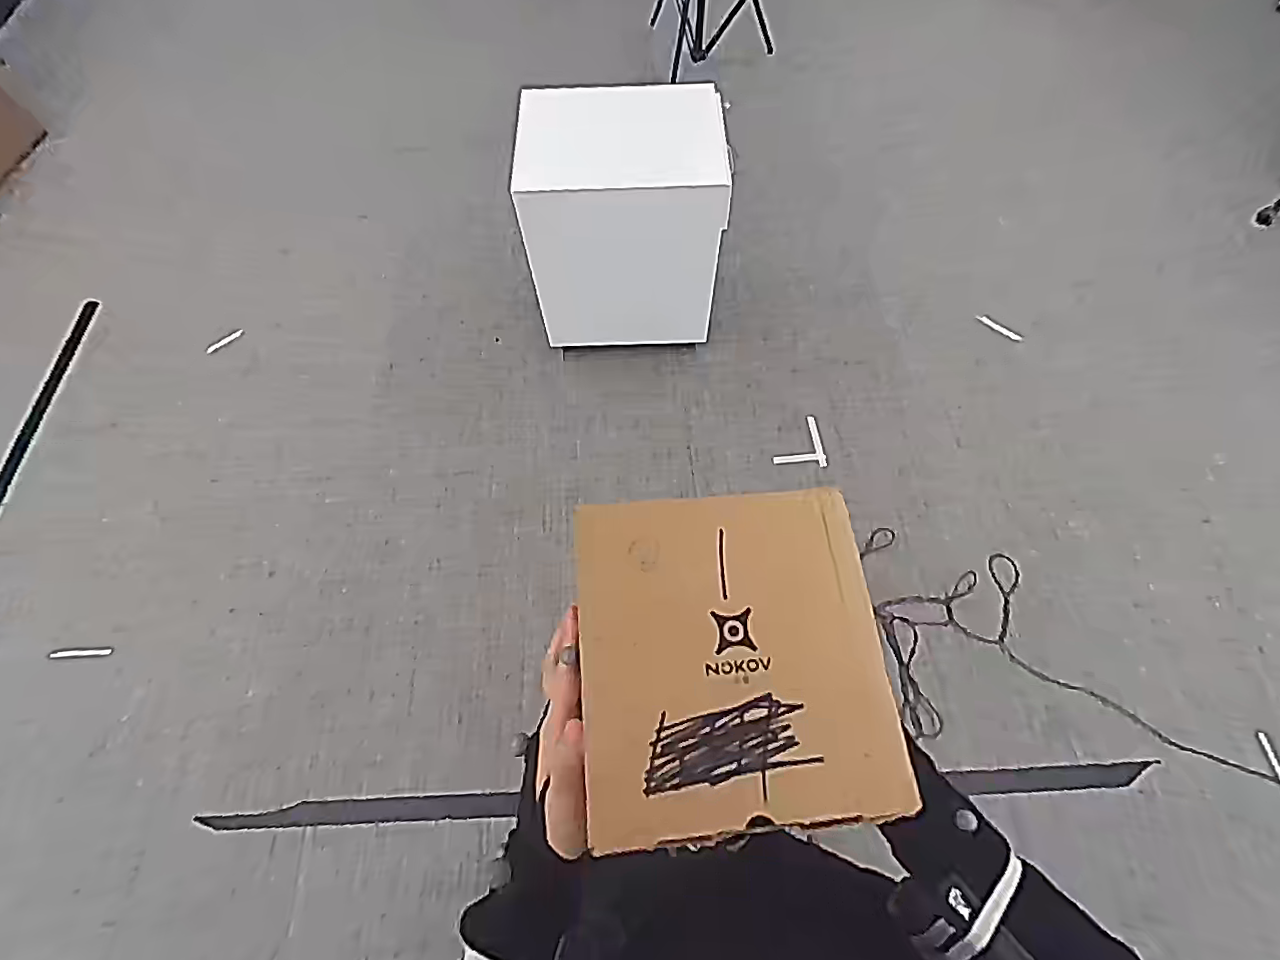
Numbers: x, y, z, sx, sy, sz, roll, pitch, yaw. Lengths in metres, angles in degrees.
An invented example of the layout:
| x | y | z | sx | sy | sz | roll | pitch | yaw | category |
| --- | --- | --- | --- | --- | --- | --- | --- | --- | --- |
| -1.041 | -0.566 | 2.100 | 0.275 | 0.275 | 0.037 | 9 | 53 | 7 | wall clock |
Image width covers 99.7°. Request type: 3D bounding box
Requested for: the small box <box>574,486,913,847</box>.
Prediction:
| x | y | z | sx | sy | sz | roll | pitch | yaw | category |
| --- | --- | --- | --- | --- | --- | --- | --- | --- | --- |
| 0.045 | 0.118 | 0.366 | 0.168 | 0.176 | 0.179 | -4 | 68 | -6 | small box |
